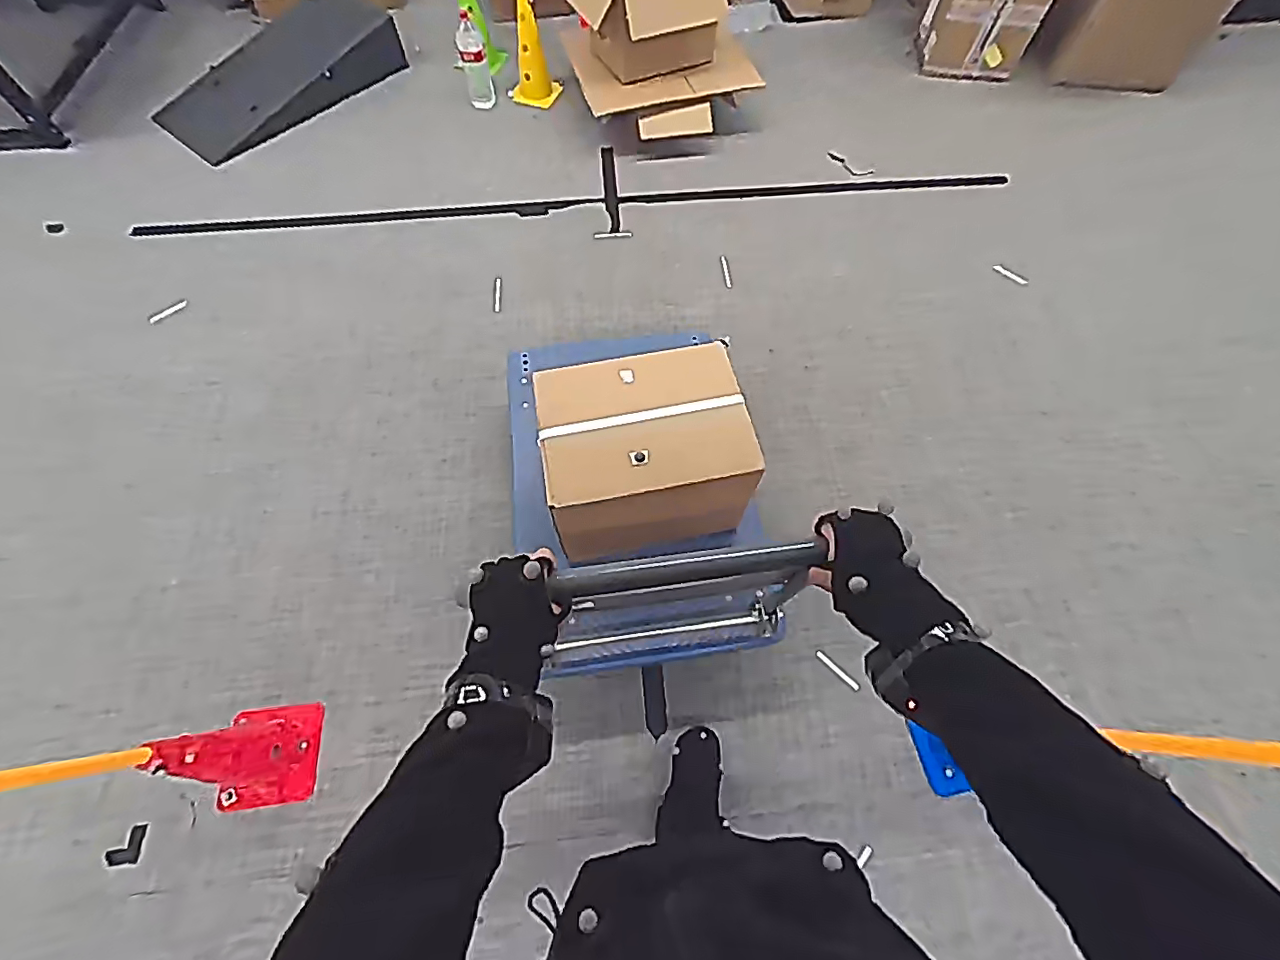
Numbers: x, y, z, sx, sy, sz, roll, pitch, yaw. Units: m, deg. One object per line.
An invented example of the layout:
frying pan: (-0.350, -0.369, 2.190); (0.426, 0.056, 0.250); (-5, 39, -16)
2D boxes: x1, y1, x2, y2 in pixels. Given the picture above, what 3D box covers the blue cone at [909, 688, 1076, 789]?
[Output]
blue cone: (0.733, 0.511, 1.089); (0.193, 0.380, 0.192); (-8, 62, -5)
